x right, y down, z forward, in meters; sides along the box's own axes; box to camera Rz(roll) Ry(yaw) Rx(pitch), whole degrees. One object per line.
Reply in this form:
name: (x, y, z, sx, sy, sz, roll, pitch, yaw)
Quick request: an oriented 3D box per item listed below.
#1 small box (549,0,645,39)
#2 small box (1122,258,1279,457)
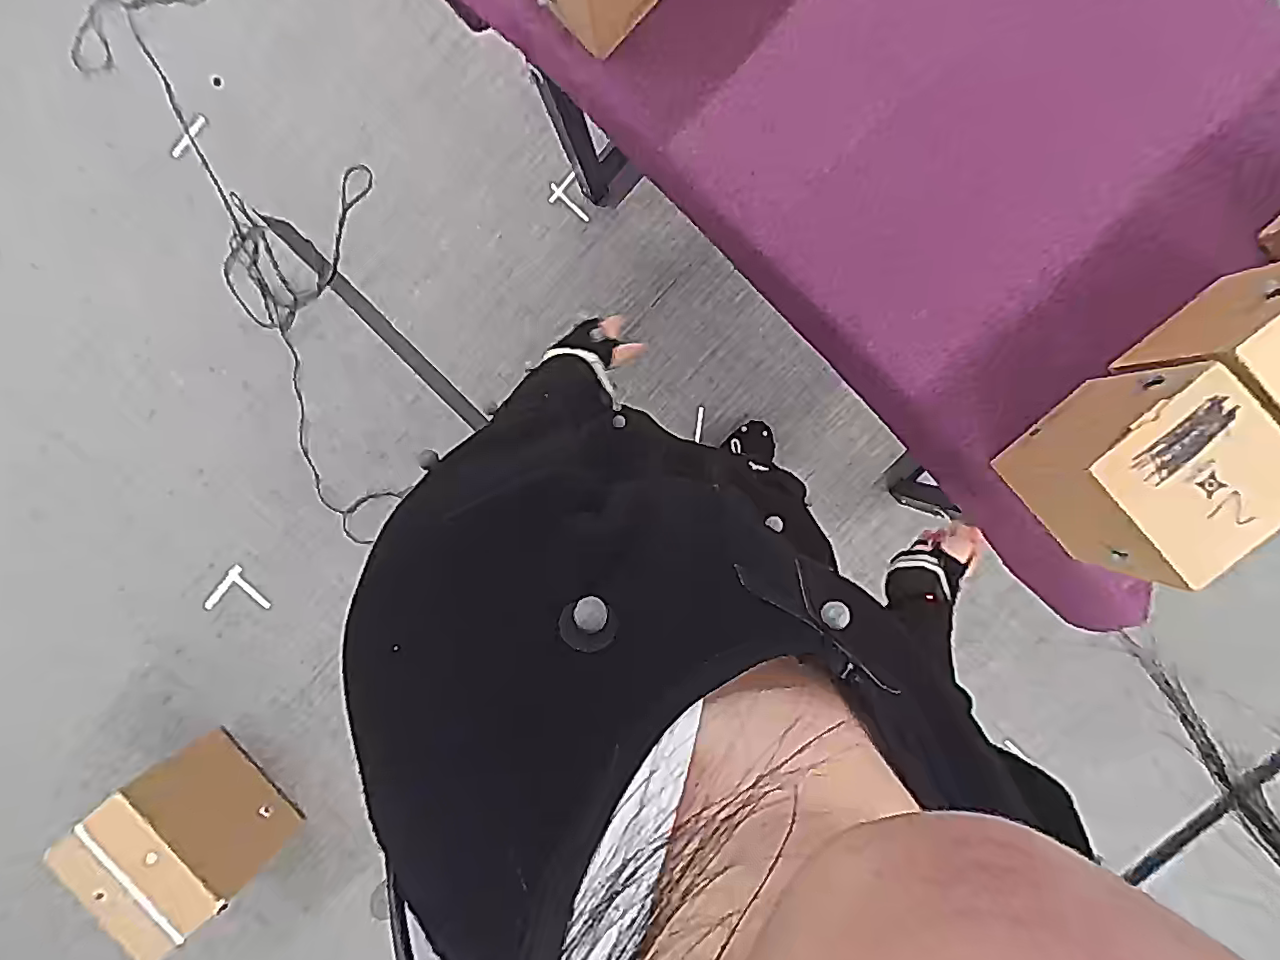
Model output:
small box: (-0.055, -0.660, 0.613, 0.168, 0.176, 0.179, -45, 93, 6)
small box: (0.712, -0.136, 0.614, 0.179, 0.176, 0.168, -40, 91, 6)
